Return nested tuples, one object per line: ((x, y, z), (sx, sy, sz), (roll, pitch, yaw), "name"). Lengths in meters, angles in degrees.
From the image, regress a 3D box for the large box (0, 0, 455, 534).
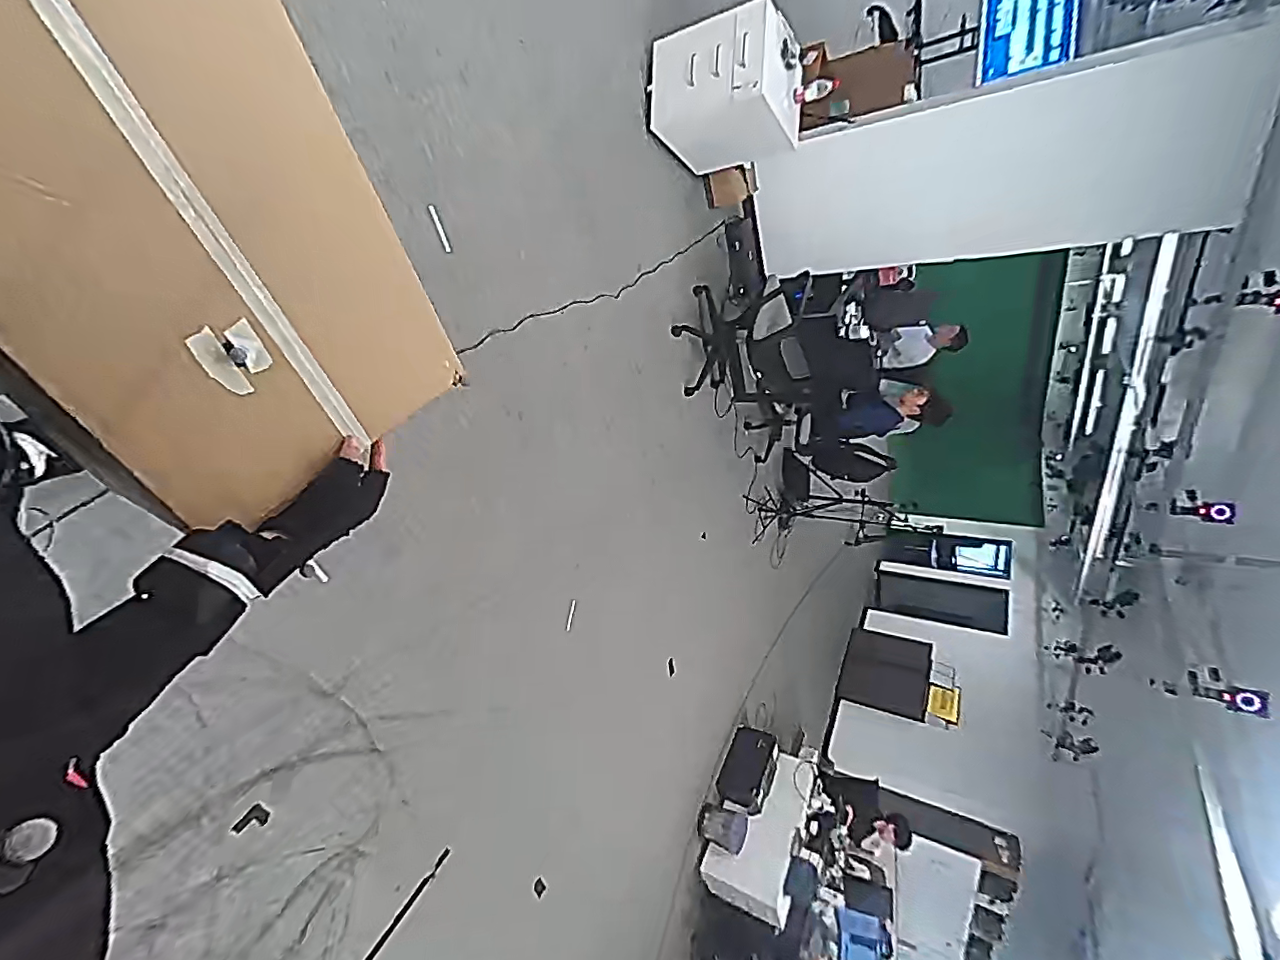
((-0.476, -0.216, 0.536), (0.320, 0.320, 0.408), (-52, 139, -35), "large box")
